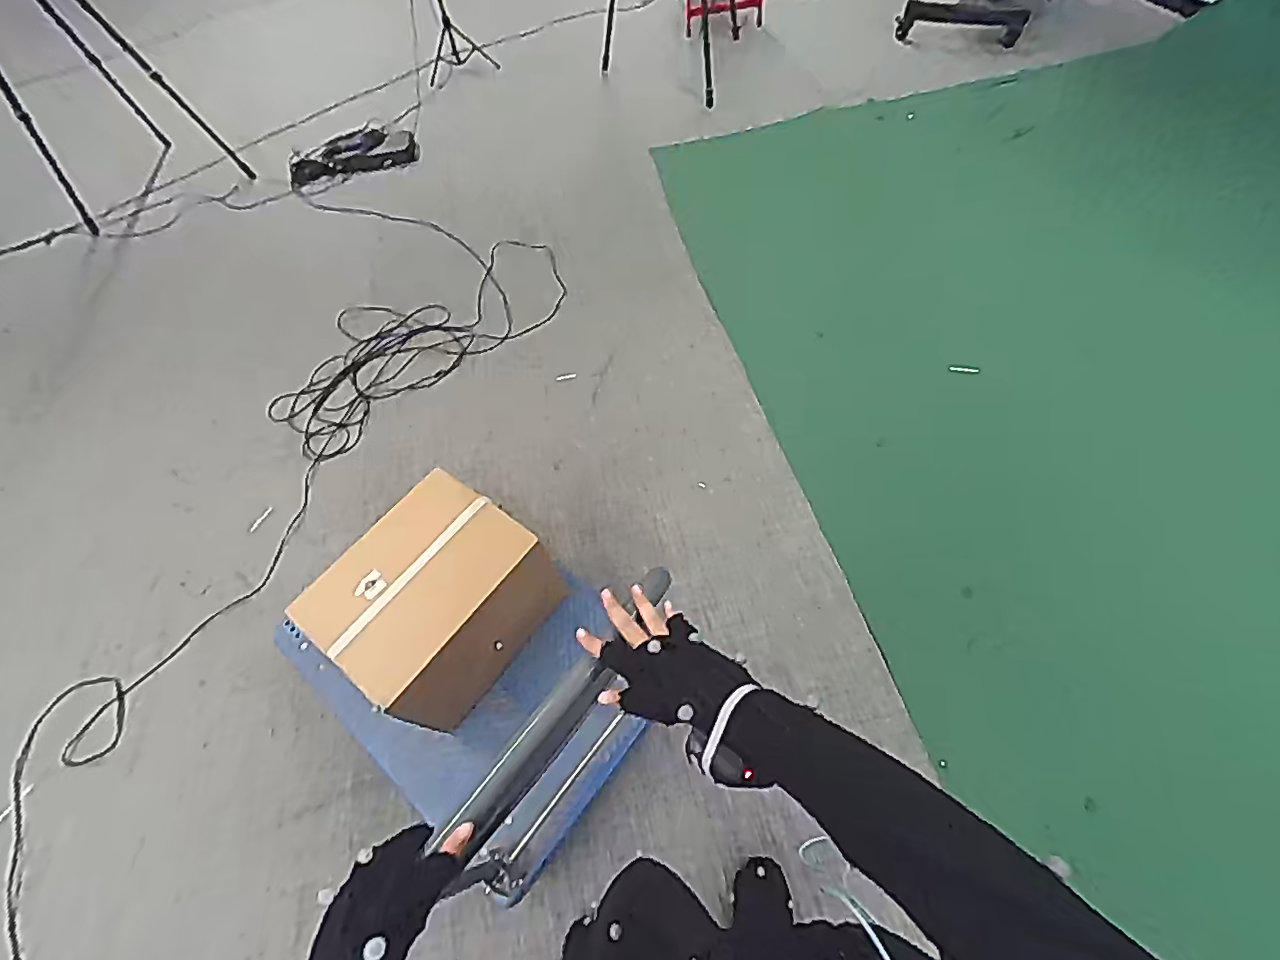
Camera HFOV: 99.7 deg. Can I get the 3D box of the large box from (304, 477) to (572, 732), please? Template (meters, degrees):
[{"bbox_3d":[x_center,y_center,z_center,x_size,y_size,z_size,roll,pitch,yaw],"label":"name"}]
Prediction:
[{"bbox_3d":[-0.414,0.278,1.207,0.320,0.320,0.408,30,67,23],"label":"large box"}]
